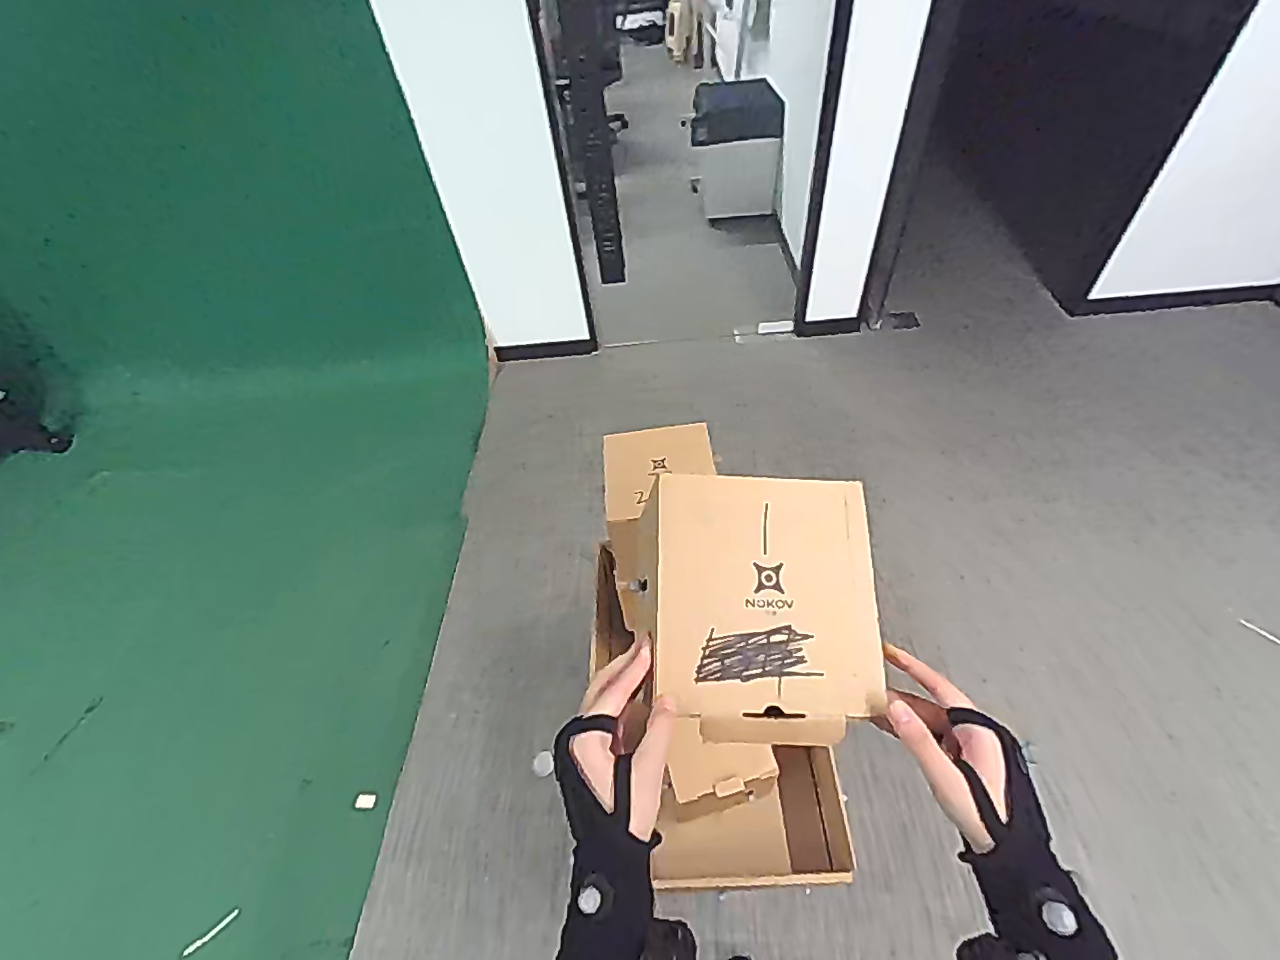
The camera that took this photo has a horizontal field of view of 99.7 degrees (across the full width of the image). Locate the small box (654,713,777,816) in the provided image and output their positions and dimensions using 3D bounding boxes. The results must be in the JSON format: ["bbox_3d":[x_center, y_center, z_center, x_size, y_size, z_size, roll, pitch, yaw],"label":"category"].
[{"bbox_3d":[0.122,0.457,0.932,0.168,0.176,0.179,-13,49,-5],"label":"small box"}]

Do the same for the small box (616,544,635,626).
[{"bbox_3d":[0.053,0.154,0.986,0.179,0.176,0.168,-9,49,2],"label":"small box"}]

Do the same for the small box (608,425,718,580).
[{"bbox_3d":[0.042,0.038,0.868,0.168,0.176,0.179,-7,50,3],"label":"small box"}]

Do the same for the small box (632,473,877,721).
[{"bbox_3d":[0.083,0.105,0.476,0.168,0.176,0.179,3,72,-5],"label":"small box"}]
